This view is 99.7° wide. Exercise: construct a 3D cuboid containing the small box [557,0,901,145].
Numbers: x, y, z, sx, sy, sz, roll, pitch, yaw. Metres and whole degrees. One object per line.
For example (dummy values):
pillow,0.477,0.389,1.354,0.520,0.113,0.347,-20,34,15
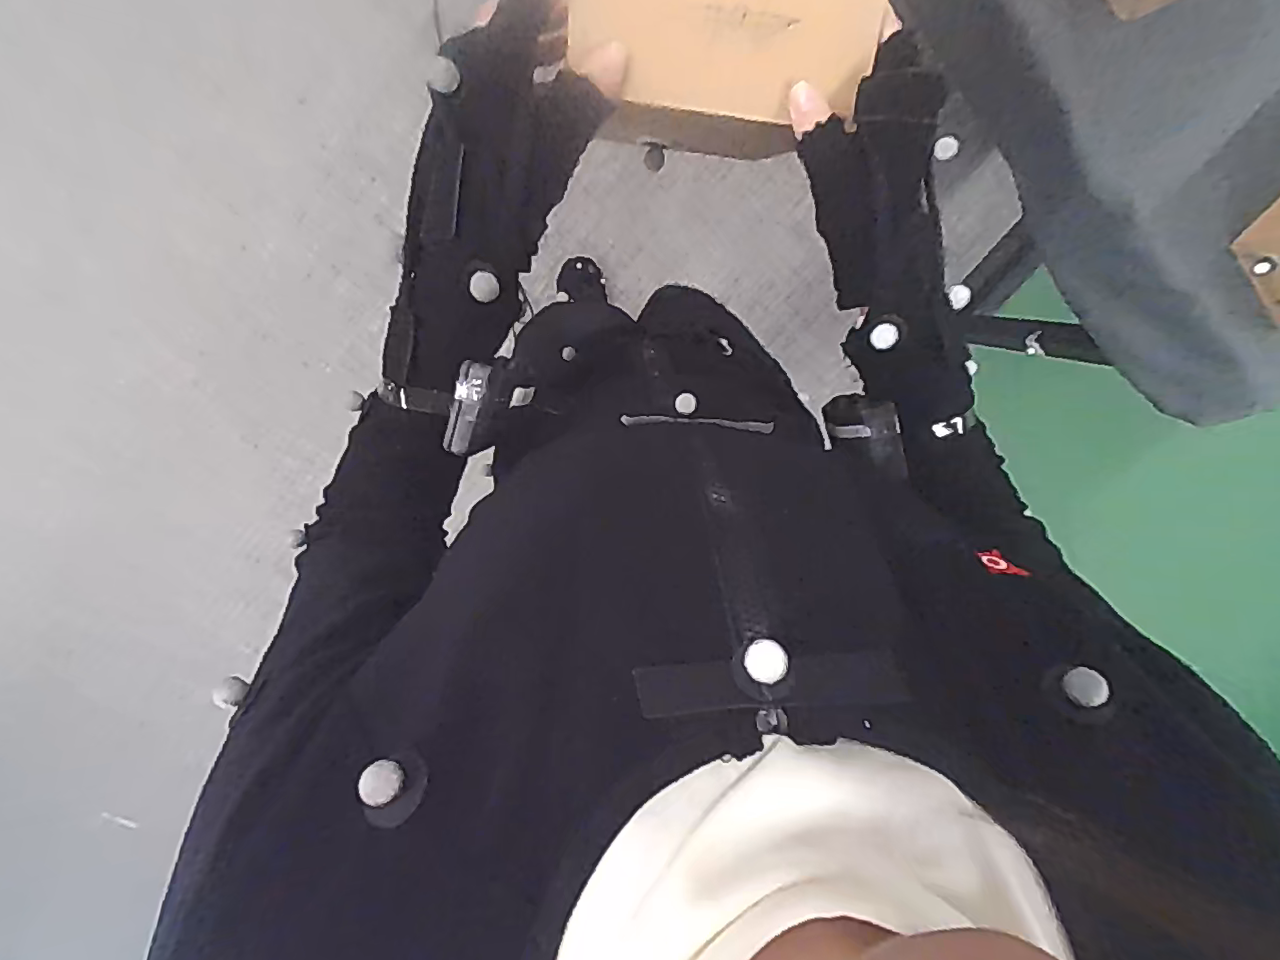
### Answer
small box,0.042,-0.310,0.304,0.168,0.176,0.179,4,116,-10
